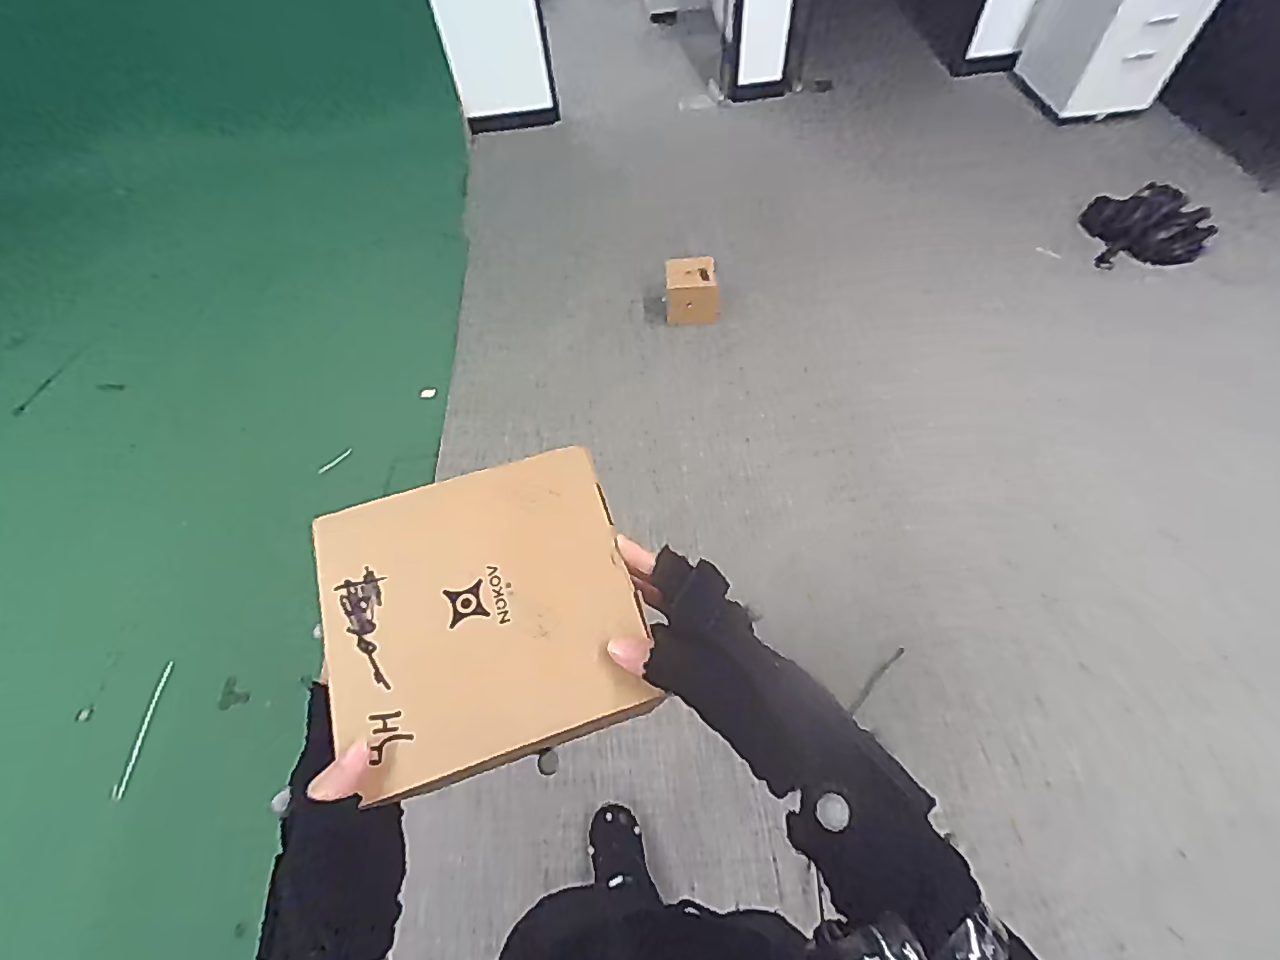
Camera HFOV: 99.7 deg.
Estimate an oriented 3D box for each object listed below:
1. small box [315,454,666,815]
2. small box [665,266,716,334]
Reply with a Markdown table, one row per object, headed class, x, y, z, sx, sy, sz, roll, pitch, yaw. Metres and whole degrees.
| class | x | y | z | sx | sy | sz | roll | pitch | yaw |
| --- | --- | --- | --- | --- | --- | --- | --- | --- | --- |
| small box | -0.096 | 0.110 | 0.391 | 0.179 | 0.176 | 0.168 | -18 | 66 | -10 |
| small box | 0.183 | -0.658 | 1.987 | 0.179 | 0.176 | 0.168 | -3 | 57 | 5 |
